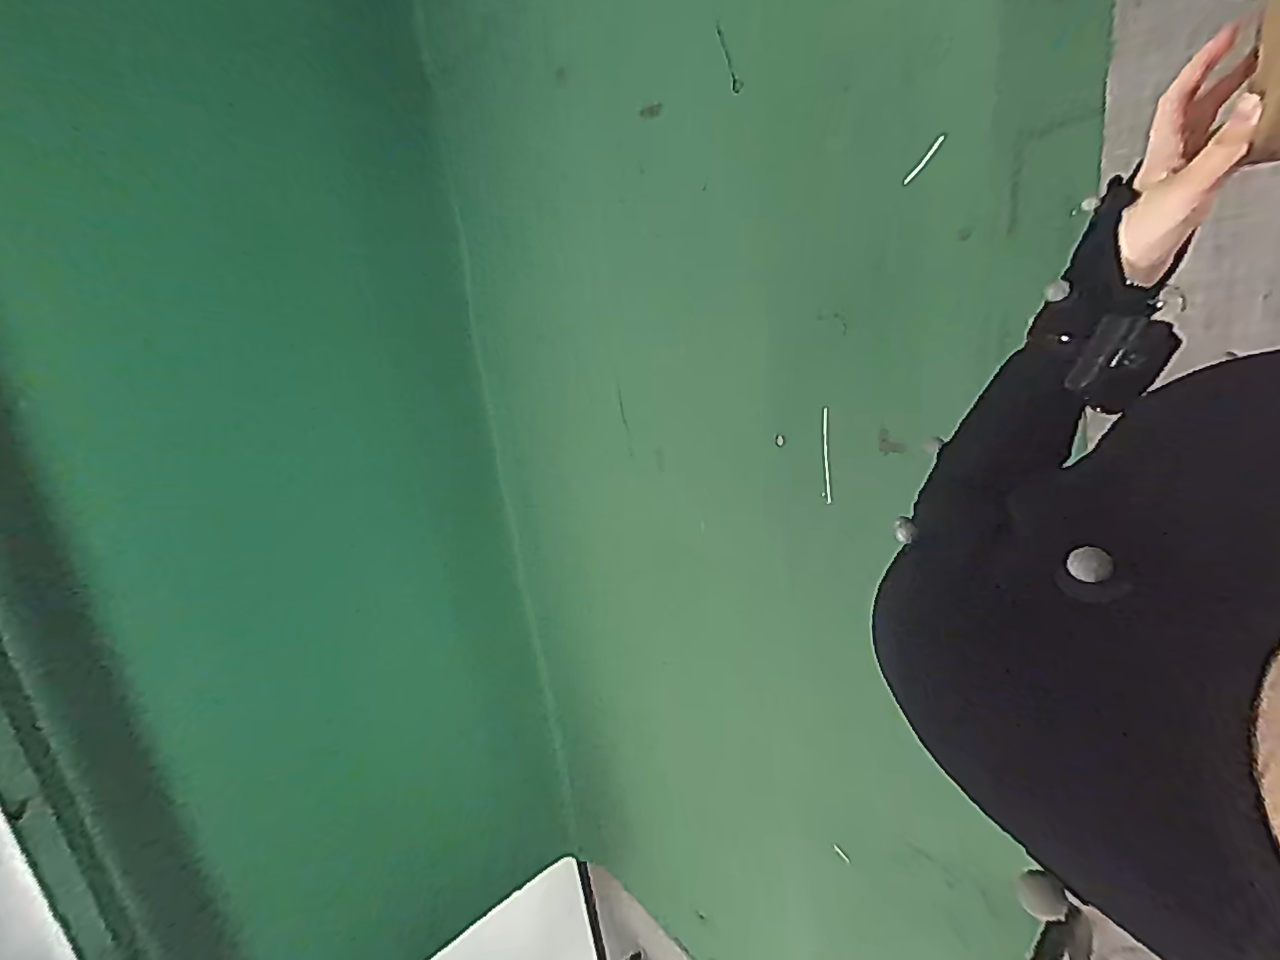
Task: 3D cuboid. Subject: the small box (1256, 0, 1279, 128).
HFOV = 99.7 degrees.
[{"bbox_3d":[0.422,-0.293,0.241,0.179,0.176,0.168,5,103,41],"label":"small box"}]
